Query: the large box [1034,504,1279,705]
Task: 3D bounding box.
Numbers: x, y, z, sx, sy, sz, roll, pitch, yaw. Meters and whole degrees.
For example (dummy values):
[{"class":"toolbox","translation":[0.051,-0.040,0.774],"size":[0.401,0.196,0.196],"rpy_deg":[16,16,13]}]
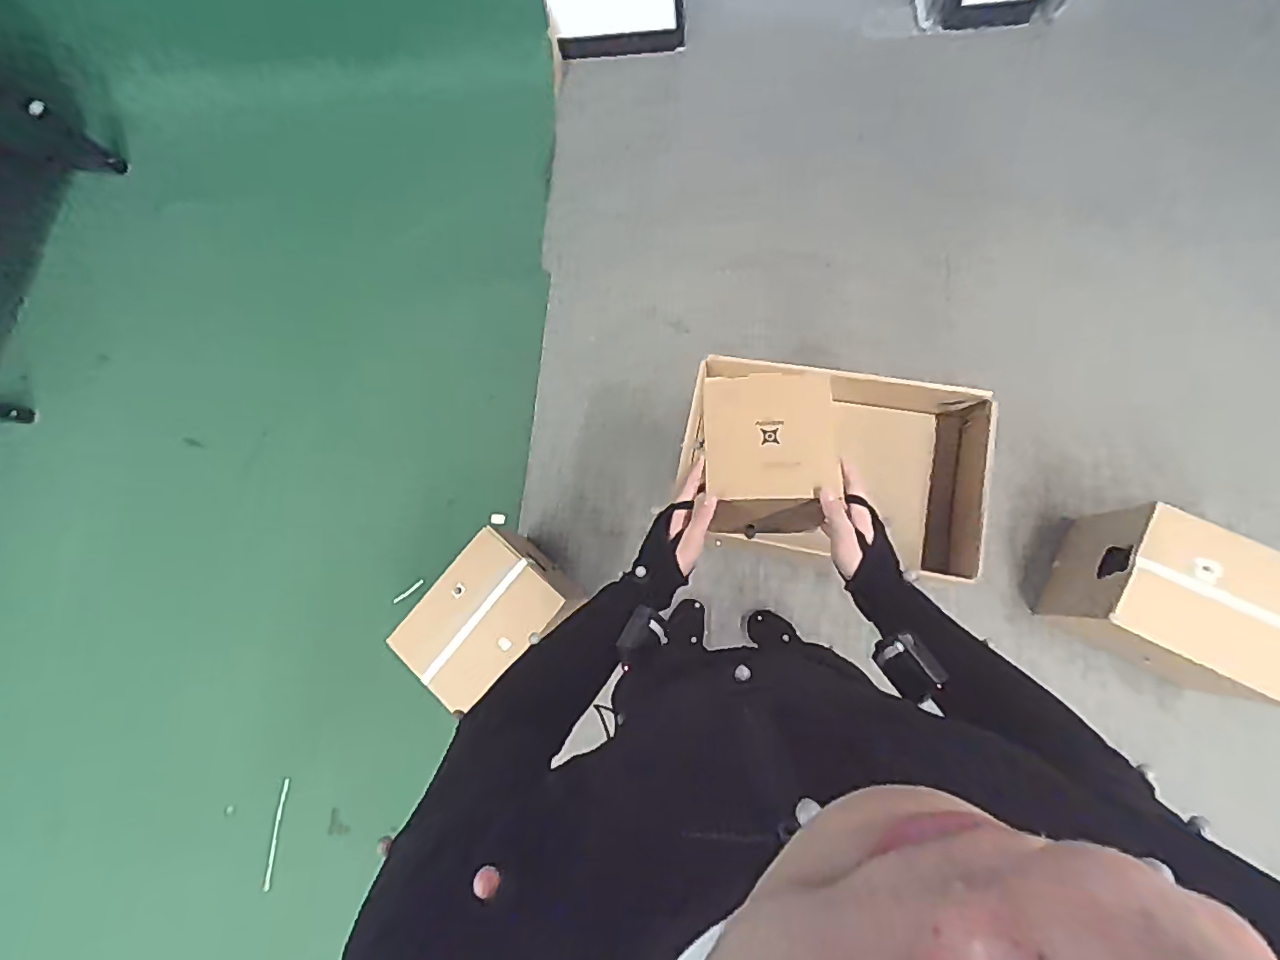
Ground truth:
[{"class":"large box","translation":[1.314,0.301,1.337],"size":[0.408,0.320,0.320],"rpy_deg":[27,82,13]}]
